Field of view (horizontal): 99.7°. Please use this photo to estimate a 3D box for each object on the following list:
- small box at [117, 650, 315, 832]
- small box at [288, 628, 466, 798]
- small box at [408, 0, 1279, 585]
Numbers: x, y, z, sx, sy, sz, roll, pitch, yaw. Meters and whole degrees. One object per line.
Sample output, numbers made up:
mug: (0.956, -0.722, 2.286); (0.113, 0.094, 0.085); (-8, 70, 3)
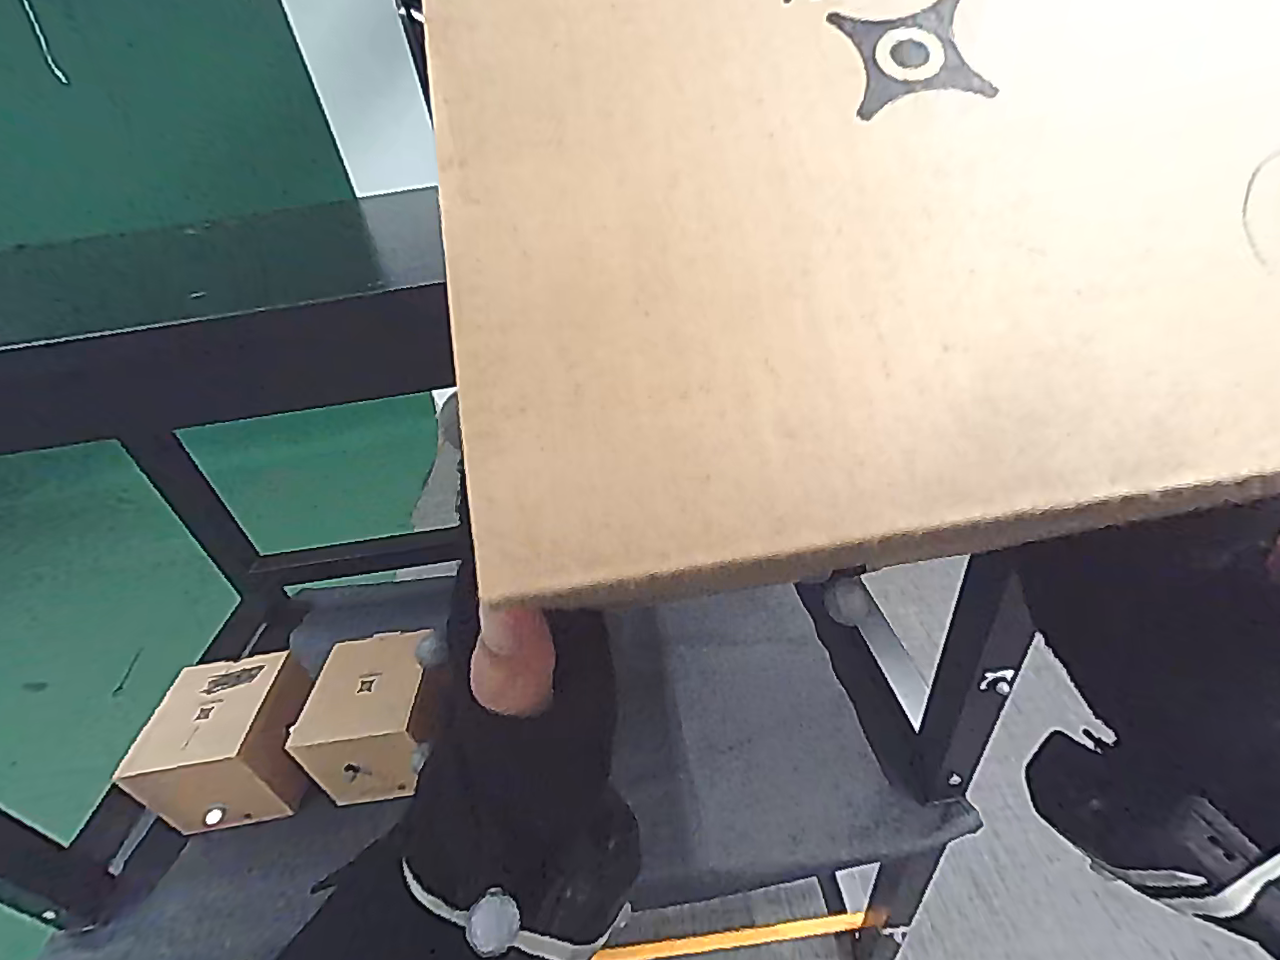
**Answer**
small box: (-0.606, 0.393, 0.821); (0.168, 0.176, 0.179); (-10, 34, -1)
small box: (-0.381, 0.359, 0.826); (0.168, 0.176, 0.179); (-8, 33, 0)
small box: (0.044, -0.063, 0.175); (0.168, 0.176, 0.179); (-9, 75, 0)
